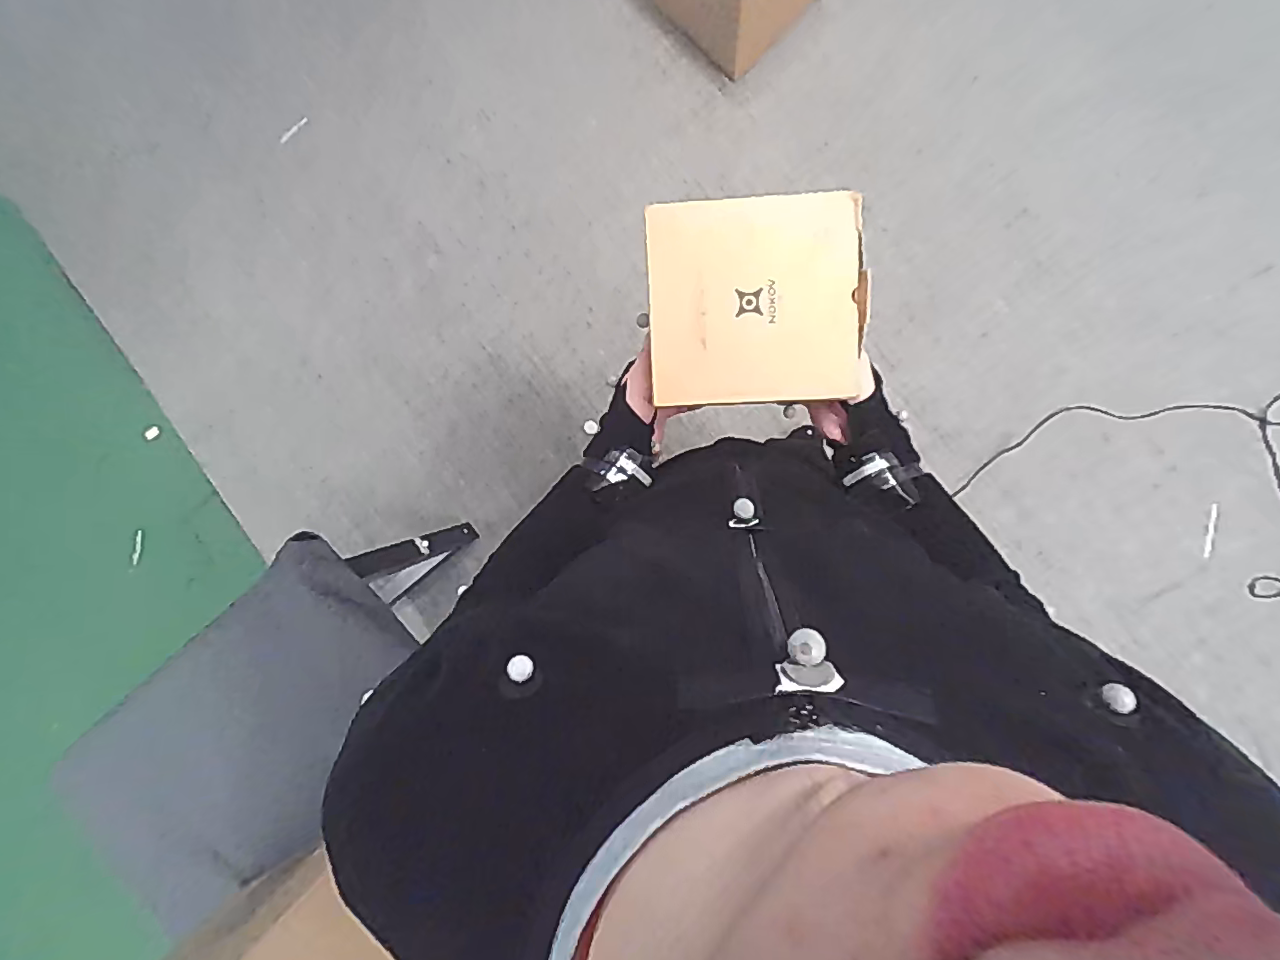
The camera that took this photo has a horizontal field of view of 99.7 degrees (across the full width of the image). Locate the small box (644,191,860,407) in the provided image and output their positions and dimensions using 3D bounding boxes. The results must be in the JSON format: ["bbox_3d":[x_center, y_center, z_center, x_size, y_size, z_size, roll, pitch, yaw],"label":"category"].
[{"bbox_3d":[0.097,-0.158,0.525,0.179,0.176,0.168,-3,97,5],"label":"small box"}]
